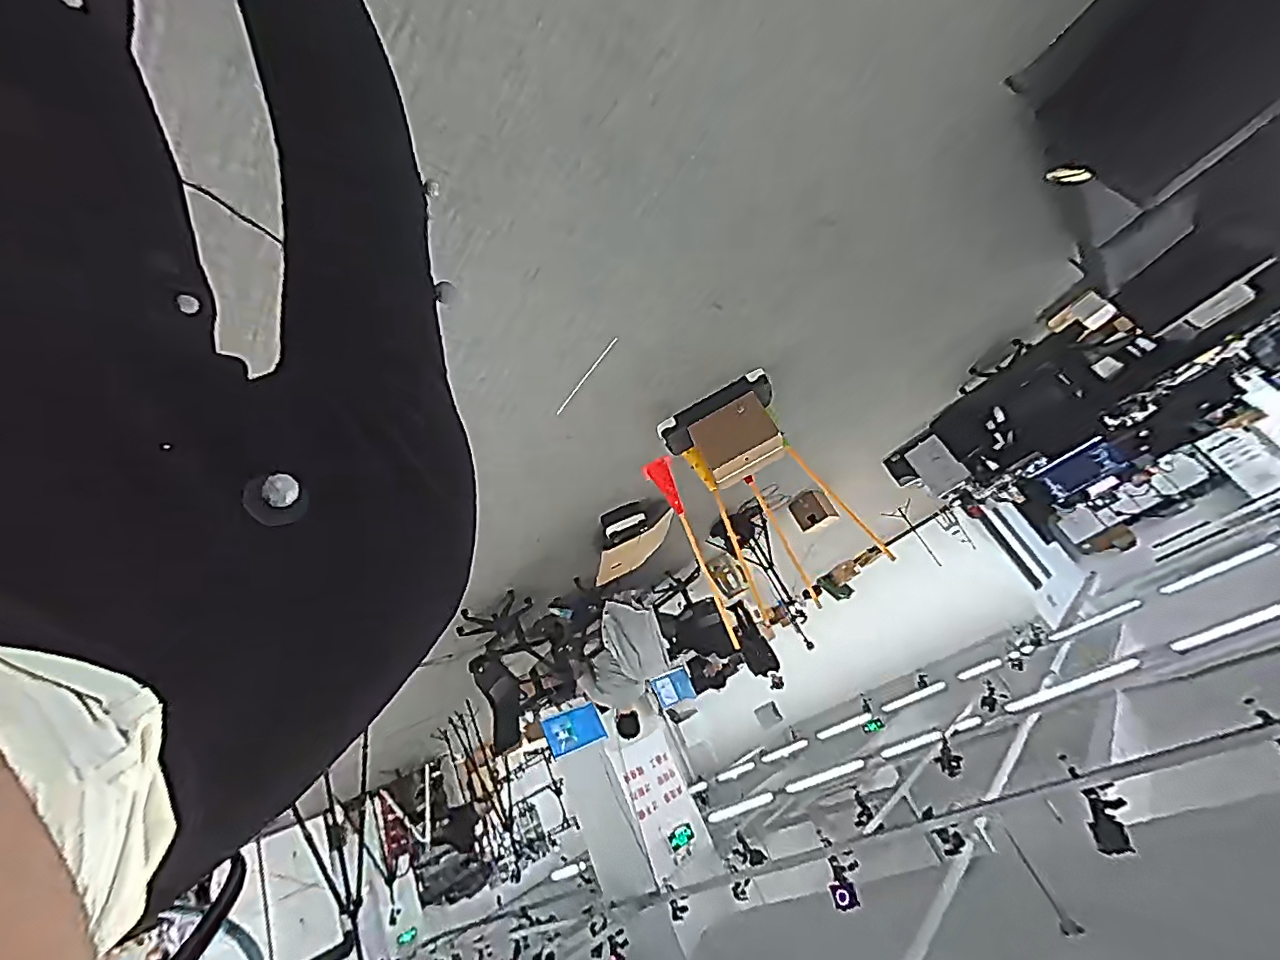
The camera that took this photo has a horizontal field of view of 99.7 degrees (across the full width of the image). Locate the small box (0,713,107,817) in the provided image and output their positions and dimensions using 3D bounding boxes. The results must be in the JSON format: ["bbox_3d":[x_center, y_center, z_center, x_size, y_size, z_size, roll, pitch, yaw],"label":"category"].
[{"bbox_3d":[-1.532,0.735,1.410,0.168,0.176,0.179,-40,153,26],"label":"small box"}]
